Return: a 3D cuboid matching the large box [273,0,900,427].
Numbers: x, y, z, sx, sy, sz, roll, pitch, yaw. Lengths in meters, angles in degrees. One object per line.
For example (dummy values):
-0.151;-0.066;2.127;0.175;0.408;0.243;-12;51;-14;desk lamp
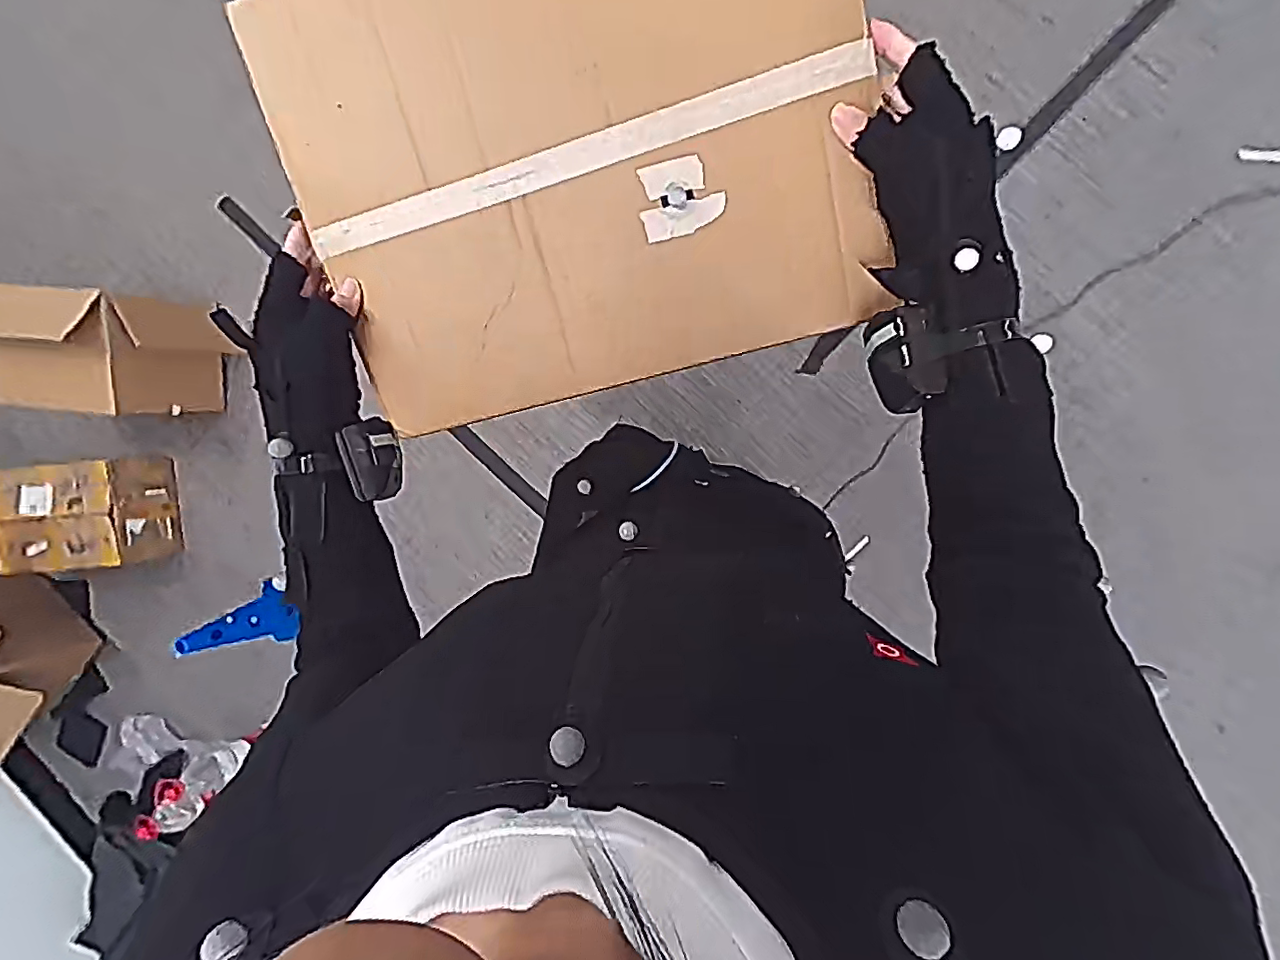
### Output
-0.023;-0.270;0.530;0.408;0.320;0.320;-12;106;10;large box
